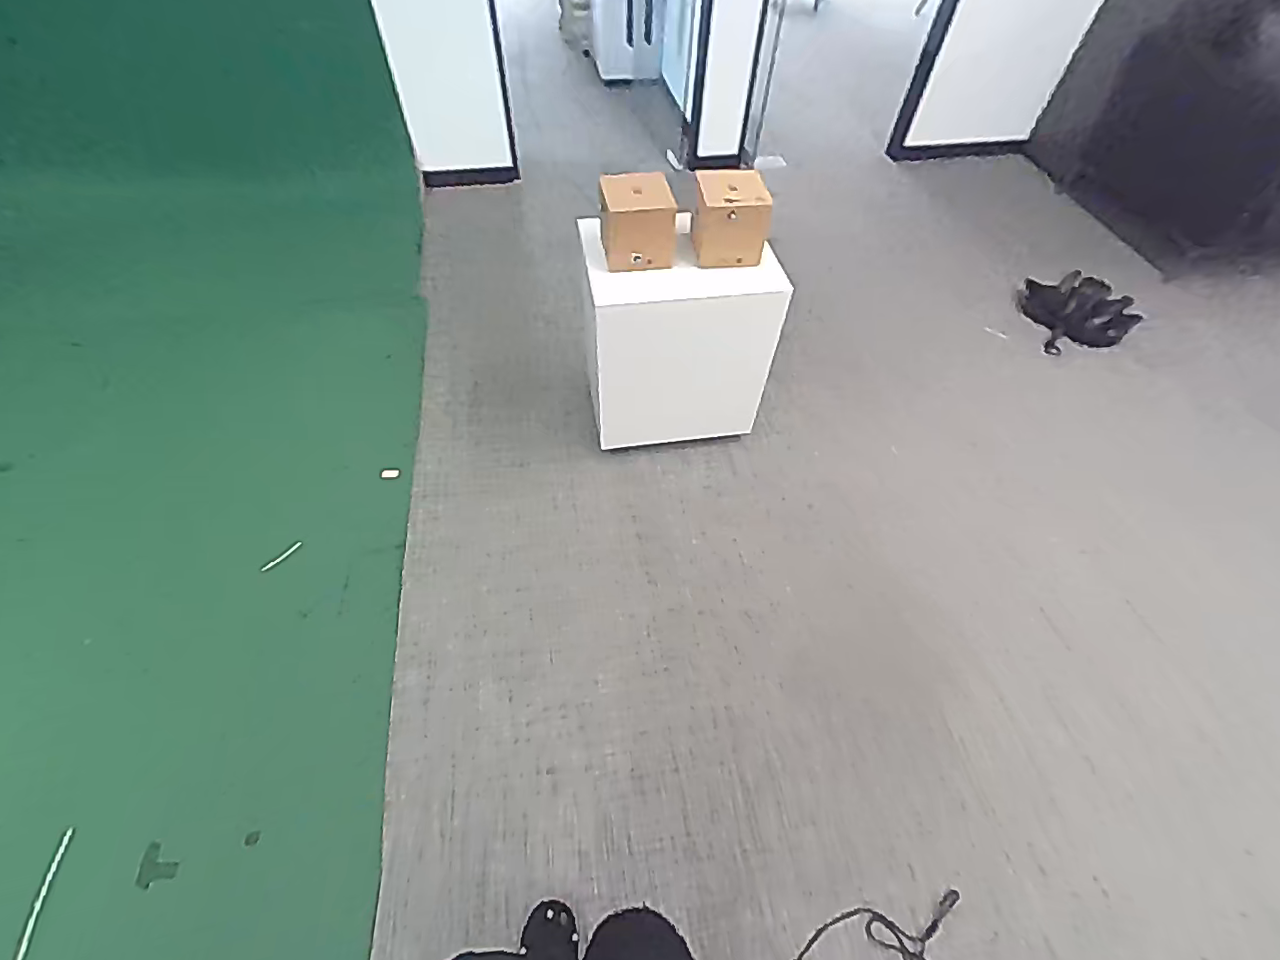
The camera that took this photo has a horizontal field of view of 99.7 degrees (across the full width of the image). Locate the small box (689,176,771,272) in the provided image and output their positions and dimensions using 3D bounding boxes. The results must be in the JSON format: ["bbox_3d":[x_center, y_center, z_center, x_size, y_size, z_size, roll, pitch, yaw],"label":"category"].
[{"bbox_3d":[0.226,-0.665,1.407,0.168,0.176,0.179,-5,54,-4],"label":"small box"}]

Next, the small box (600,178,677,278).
[{"bbox_3d":[-0.010,-0.646,1.388,0.168,0.176,0.179,-9,56,-7],"label":"small box"}]
